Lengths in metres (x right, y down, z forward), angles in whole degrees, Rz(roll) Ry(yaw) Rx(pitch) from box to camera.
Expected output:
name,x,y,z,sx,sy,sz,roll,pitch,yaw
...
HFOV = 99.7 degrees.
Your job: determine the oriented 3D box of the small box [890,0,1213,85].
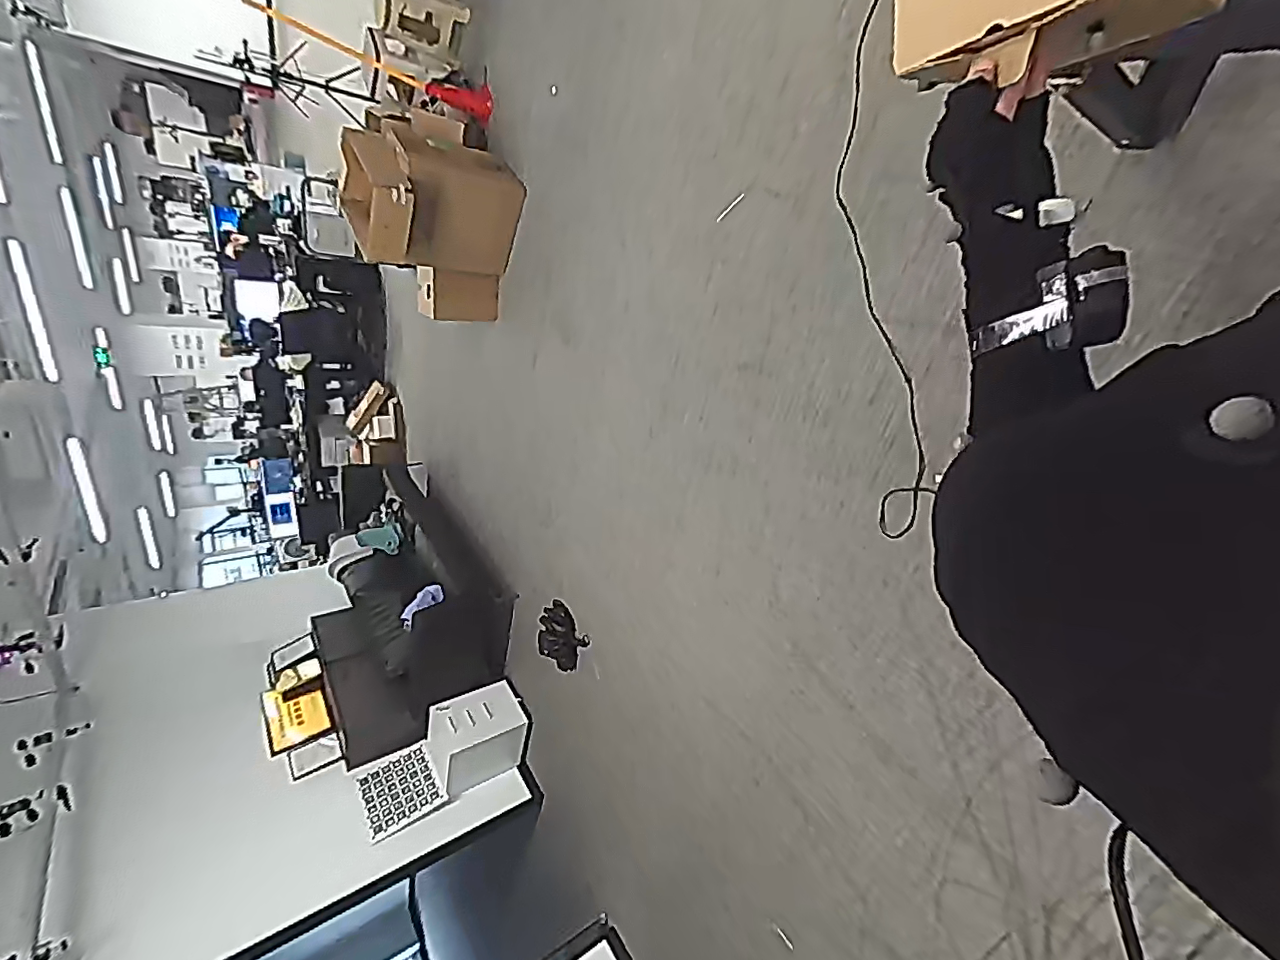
name,x,y,z,sx,sy,sz,roll,pitch,yaw
small box,0.316,-0.426,0.408,0.168,0.176,0.179,23,125,55
